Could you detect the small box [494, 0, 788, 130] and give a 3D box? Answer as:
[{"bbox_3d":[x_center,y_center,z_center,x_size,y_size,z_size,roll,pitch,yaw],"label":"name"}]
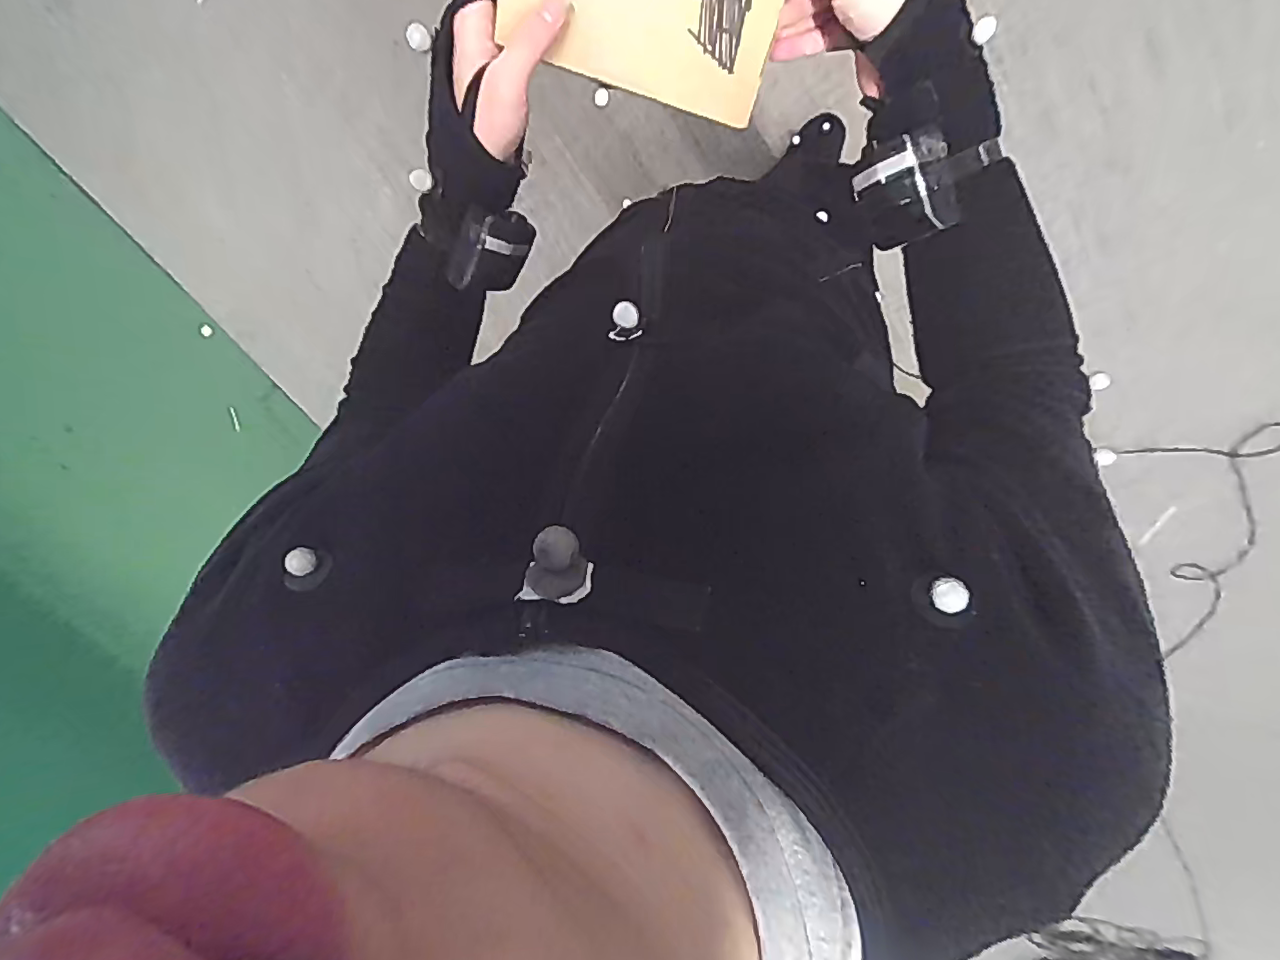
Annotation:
[{"bbox_3d":[0.002,-0.370,0.370,0.179,0.176,0.168,7,126,-17],"label":"small box"}]
